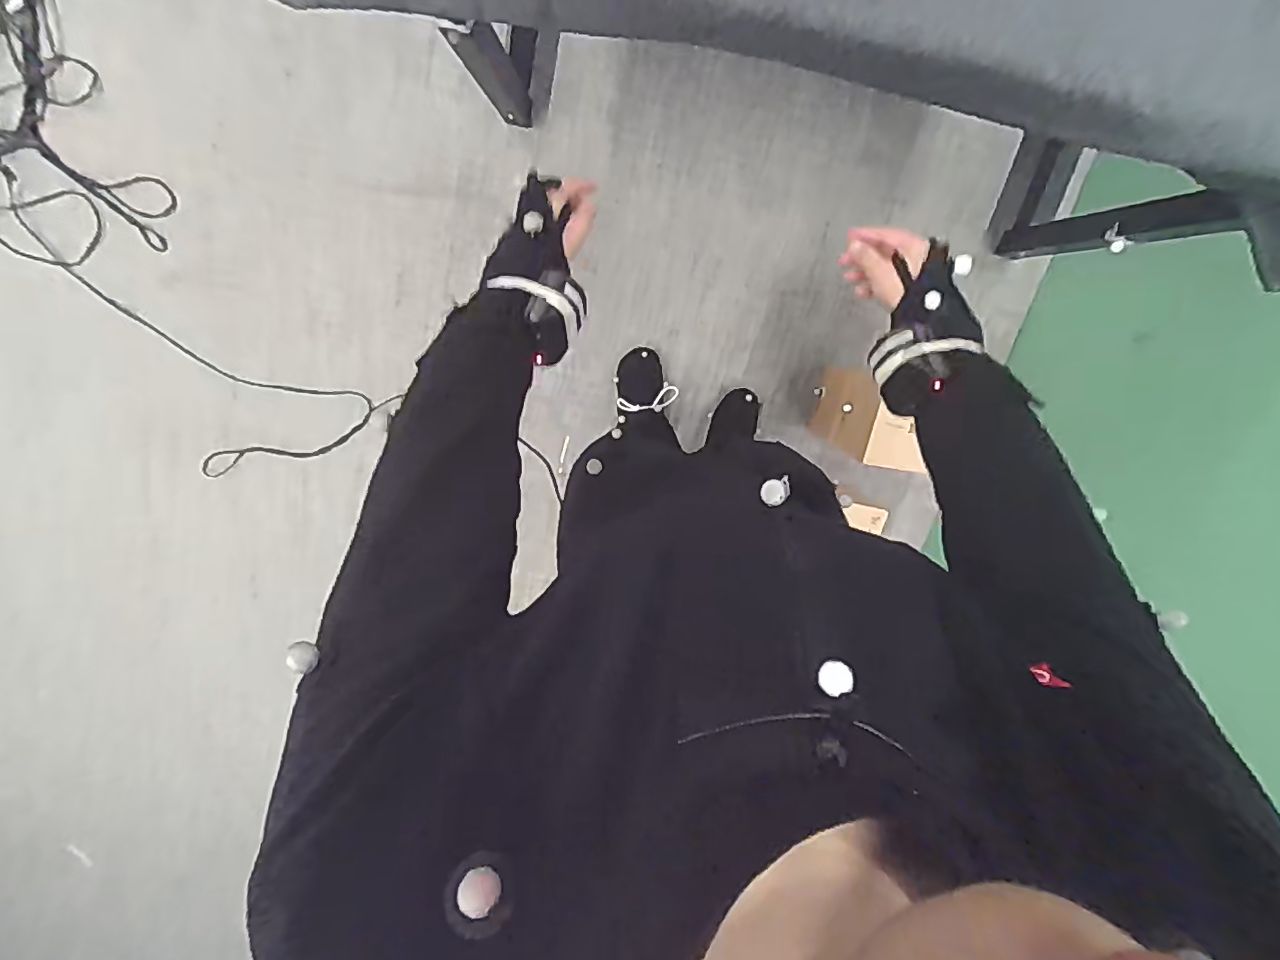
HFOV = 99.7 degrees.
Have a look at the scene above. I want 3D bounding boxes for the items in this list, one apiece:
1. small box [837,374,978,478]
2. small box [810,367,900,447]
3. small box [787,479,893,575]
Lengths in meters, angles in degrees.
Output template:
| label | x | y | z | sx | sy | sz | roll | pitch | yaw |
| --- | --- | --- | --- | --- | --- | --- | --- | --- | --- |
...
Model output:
| label | x | y | z | sx | sy | sz | roll | pitch | yaw |
| --- | --- | --- | --- | --- | --- | --- | --- | --- | --- |
| small box | 0.528 | -0.115 | 1.091 | 0.179 | 0.176 | 0.168 | 9 | 106 | -2 |
| small box | 0.519 | -0.162 | 1.248 | 0.179 | 0.176 | 0.168 | 9 | 106 | -3 |
| small box | 0.481 | 0.107 | 1.333 | 0.179 | 0.176 | 0.168 | 14 | 107 | -3 |
